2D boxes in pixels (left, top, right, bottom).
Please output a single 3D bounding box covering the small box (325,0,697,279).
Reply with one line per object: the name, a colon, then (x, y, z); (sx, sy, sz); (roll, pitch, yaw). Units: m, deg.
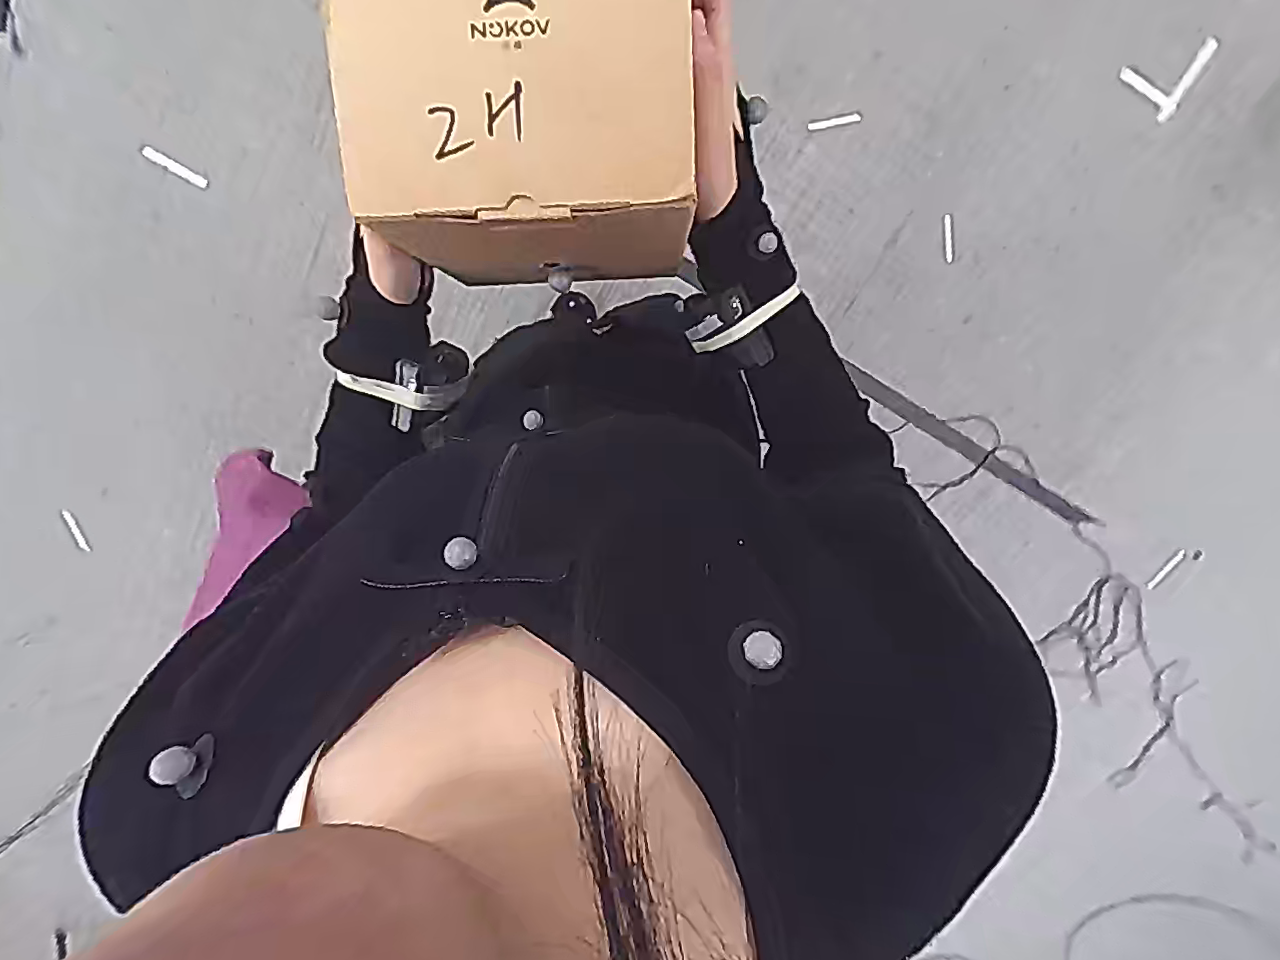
small box: (-0.057, -0.227, 0.316); (0.168, 0.176, 0.179); (-2, 100, 1)
